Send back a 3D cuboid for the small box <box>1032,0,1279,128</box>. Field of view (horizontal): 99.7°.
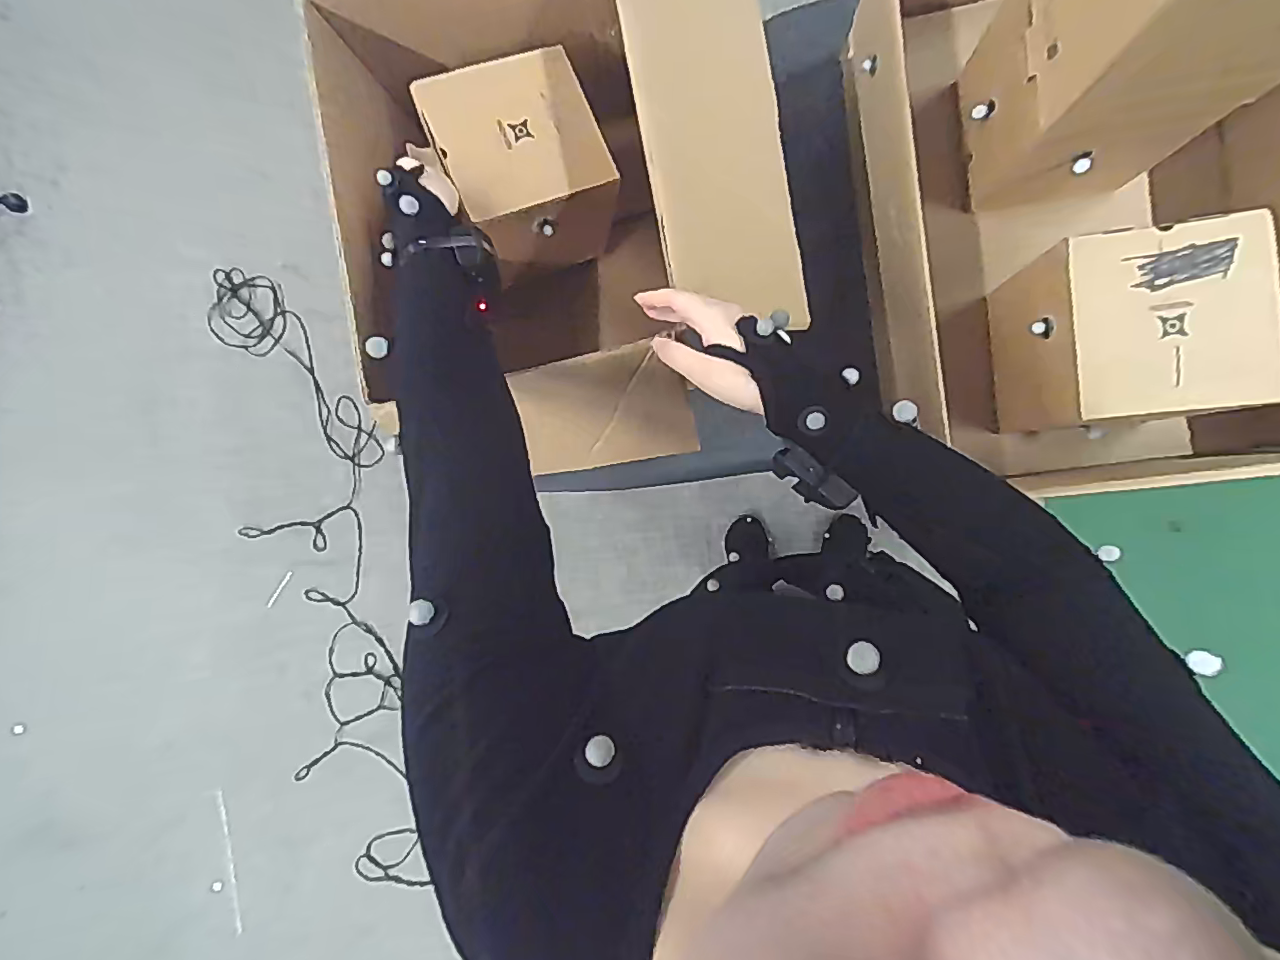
[{"bbox_3d":[0.437,-0.410,0.419,0.179,0.176,0.168,-5,92,9],"label":"small box"}]
